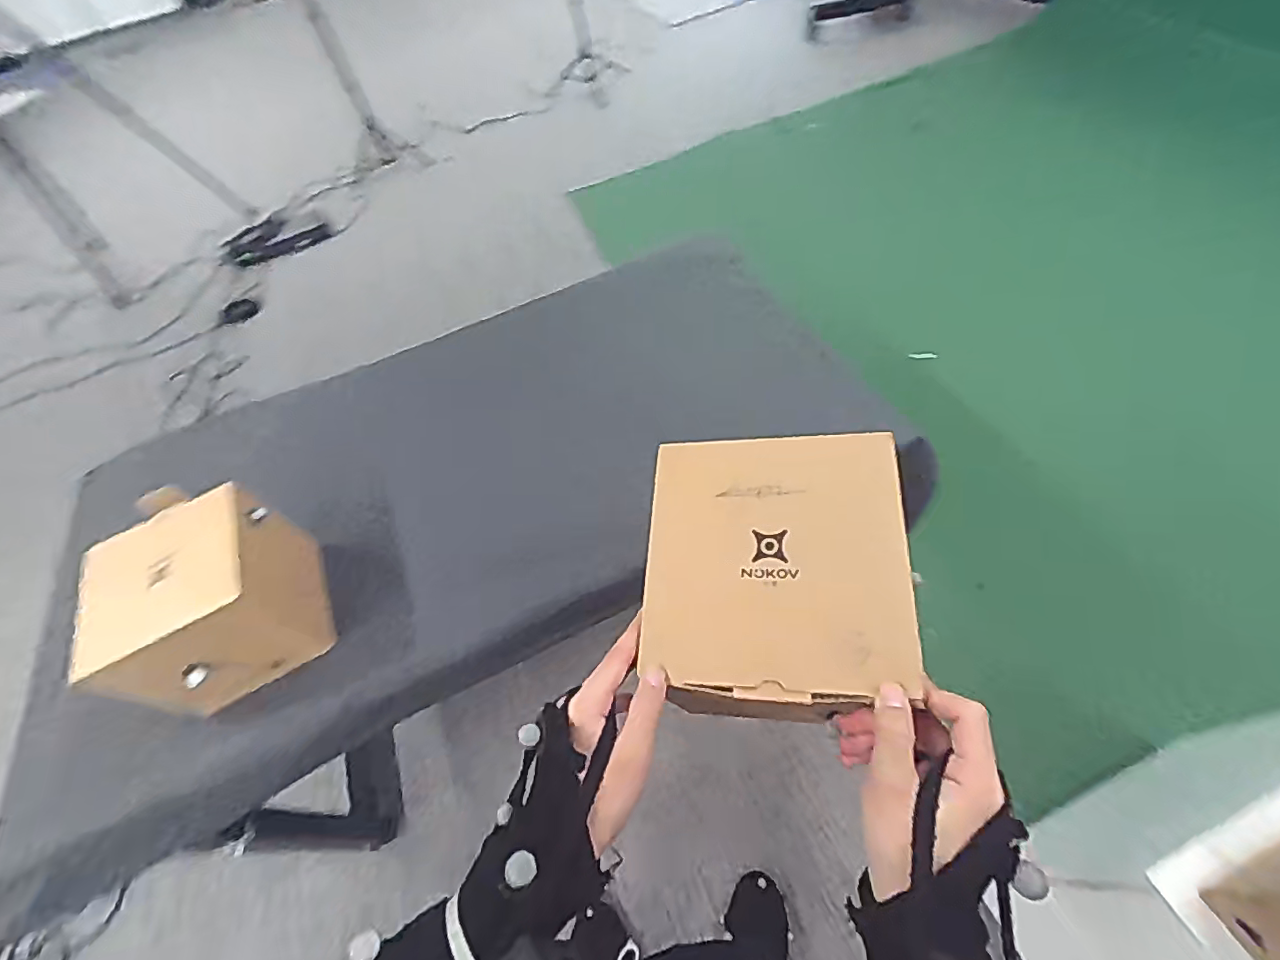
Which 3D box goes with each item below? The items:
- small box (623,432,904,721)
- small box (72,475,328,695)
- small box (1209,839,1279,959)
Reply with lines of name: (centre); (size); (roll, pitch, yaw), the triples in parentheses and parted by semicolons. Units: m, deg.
small box: (0.094, 0.083, 0.421); (0.168, 0.176, 0.179); (-2, 61, 14)
small box: (-0.503, 0.133, 0.644); (0.168, 0.176, 0.179); (-28, 55, -10)
small box: (0.645, 0.398, 0.441); (0.179, 0.176, 0.168); (-22, 56, -8)
